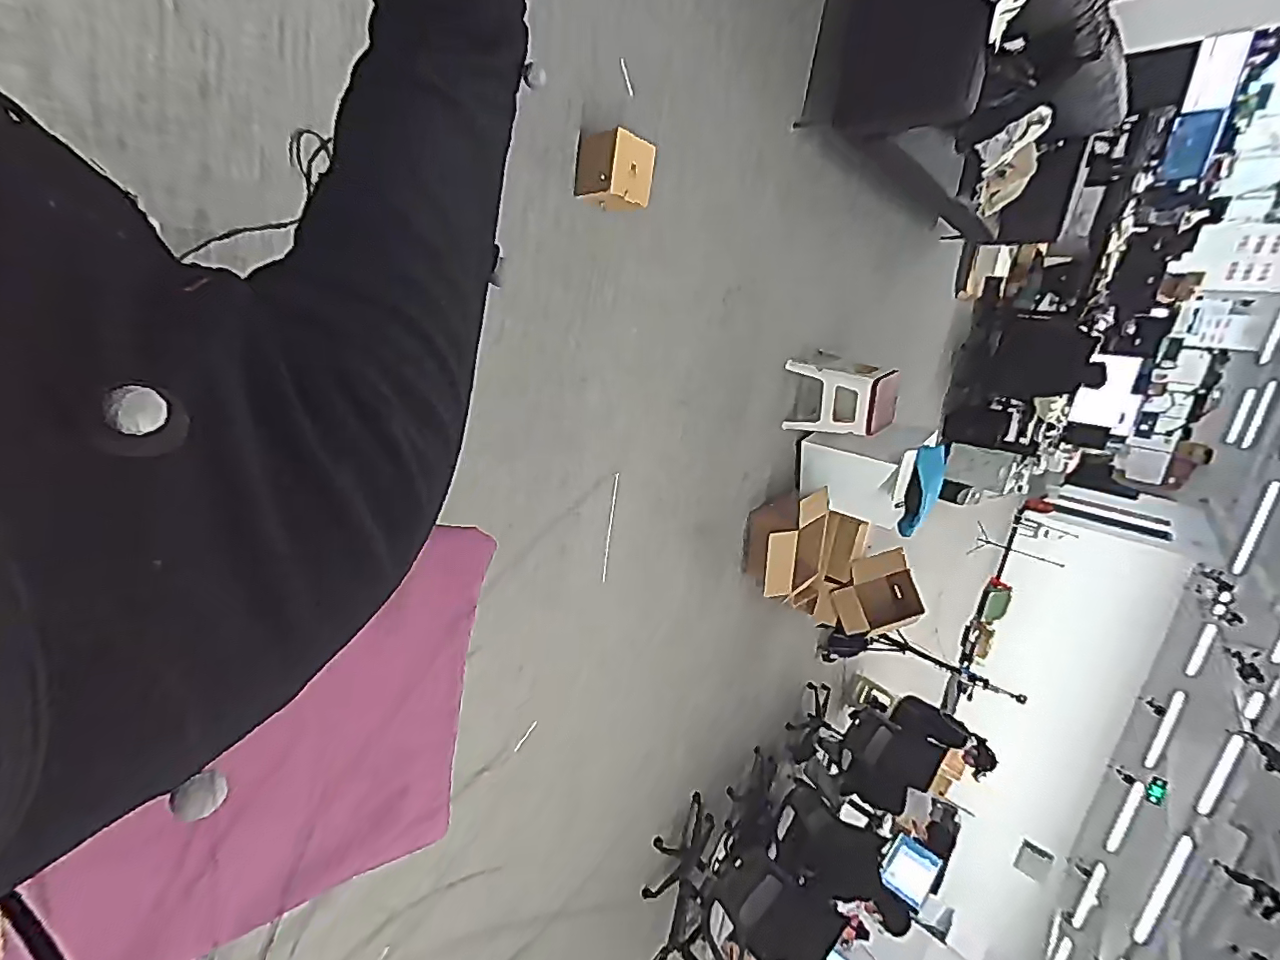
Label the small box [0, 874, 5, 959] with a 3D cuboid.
[{"bbox_3d":[-0.551,0.386,0.358,0.168,0.176,0.179,-1,106,-49],"label":"small box"}]

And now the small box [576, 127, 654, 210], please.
[{"bbox_3d":[-0.081,-0.954,1.672,0.168,0.176,0.179,-6,110,-46],"label":"small box"}]
